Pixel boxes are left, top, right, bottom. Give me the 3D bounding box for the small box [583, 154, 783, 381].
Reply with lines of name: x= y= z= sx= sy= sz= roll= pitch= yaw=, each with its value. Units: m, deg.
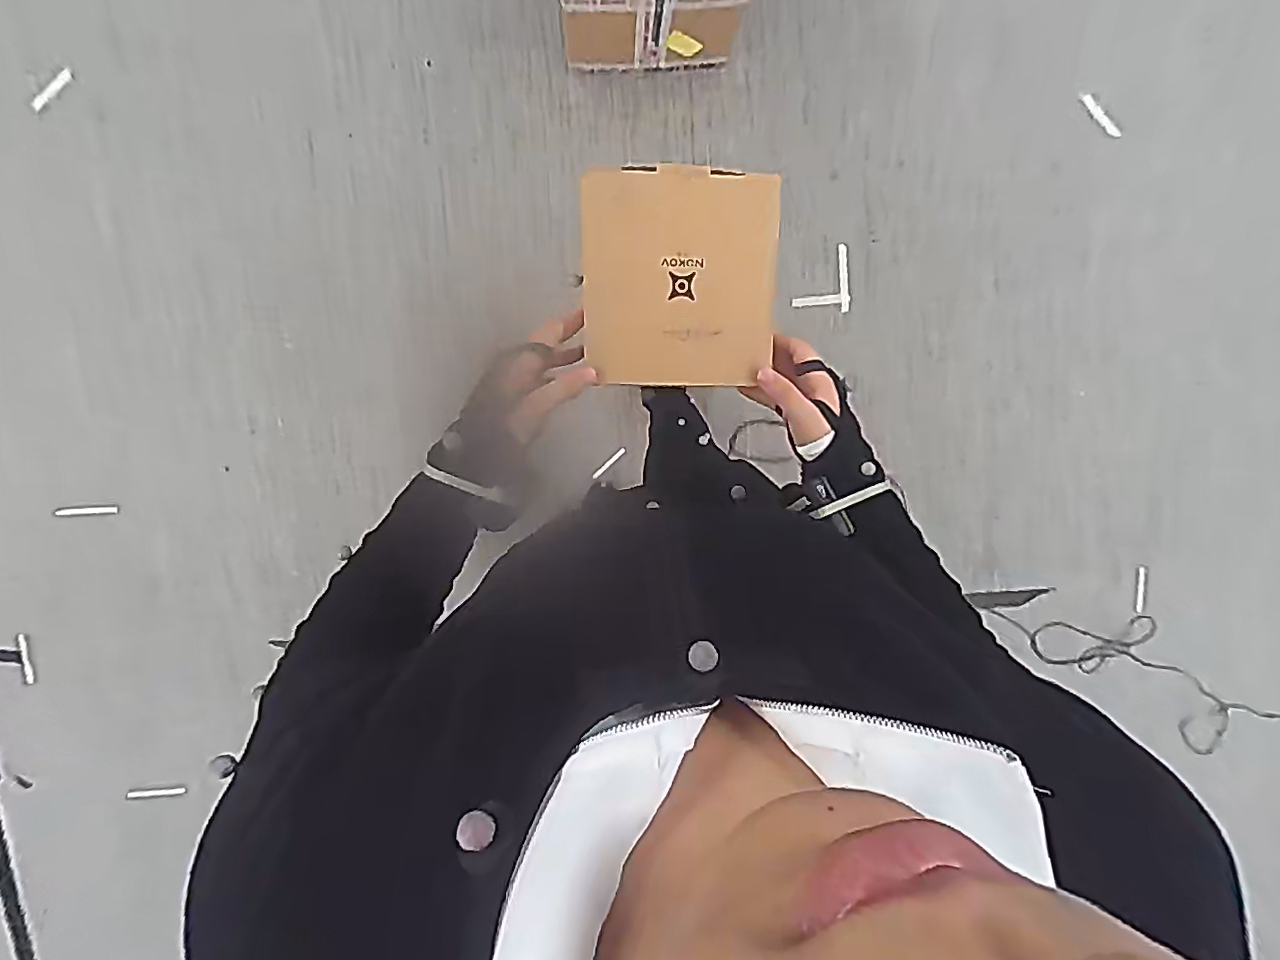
small box: x=0.028 y=-0.189 z=0.533 sx=0.168 sy=0.176 sz=0.179 roll=0 pitch=101 yaw=-6
